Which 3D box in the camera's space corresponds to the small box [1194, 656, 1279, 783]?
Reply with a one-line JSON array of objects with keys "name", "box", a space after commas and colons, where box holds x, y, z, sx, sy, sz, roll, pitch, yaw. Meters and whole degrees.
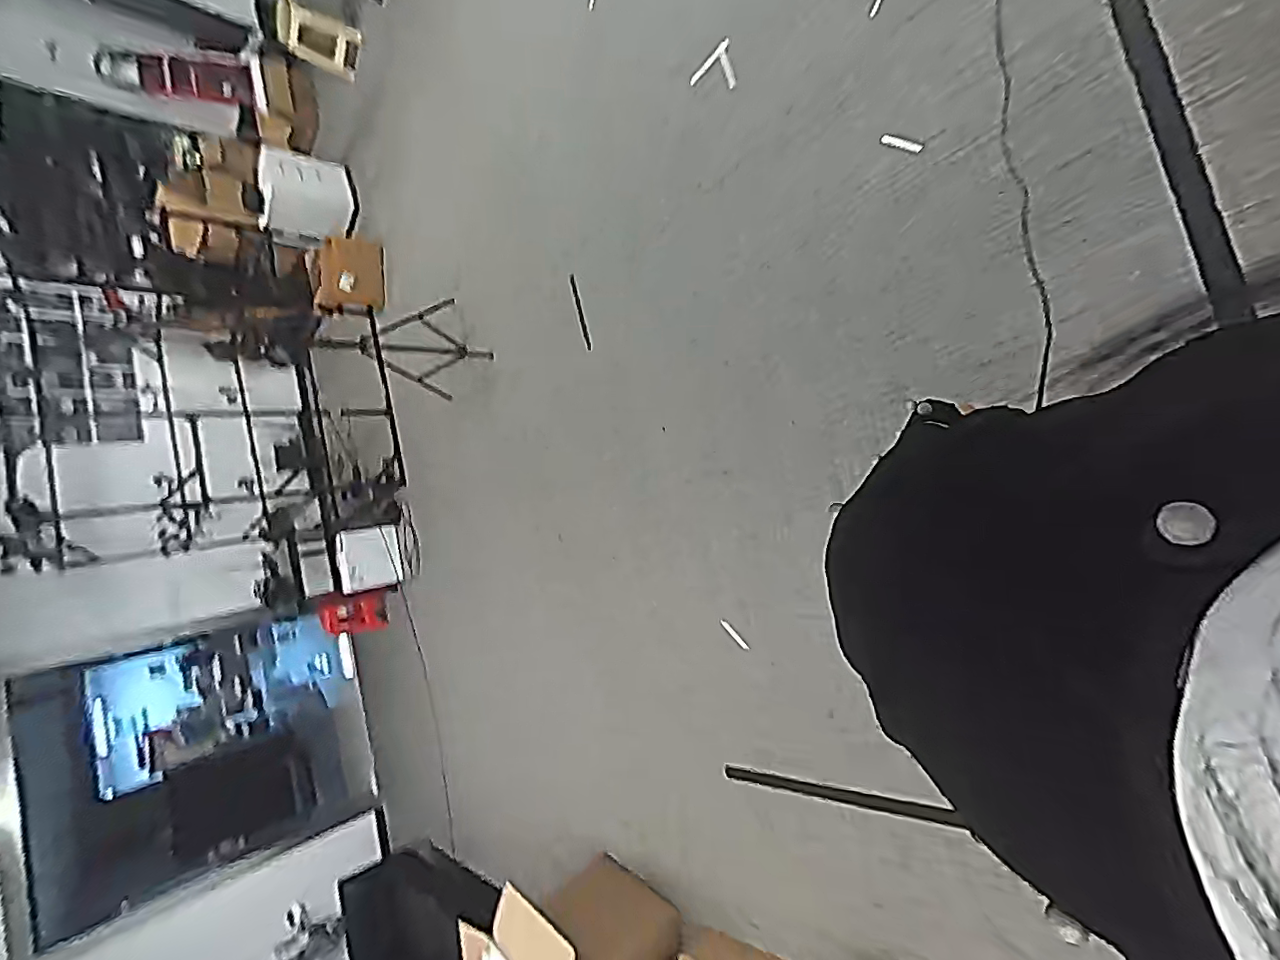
[{"name": "small box", "box": [1.144, 0.426, 0.979, 0.168, 0.176, 0.179, -20, 80, 47]}]
